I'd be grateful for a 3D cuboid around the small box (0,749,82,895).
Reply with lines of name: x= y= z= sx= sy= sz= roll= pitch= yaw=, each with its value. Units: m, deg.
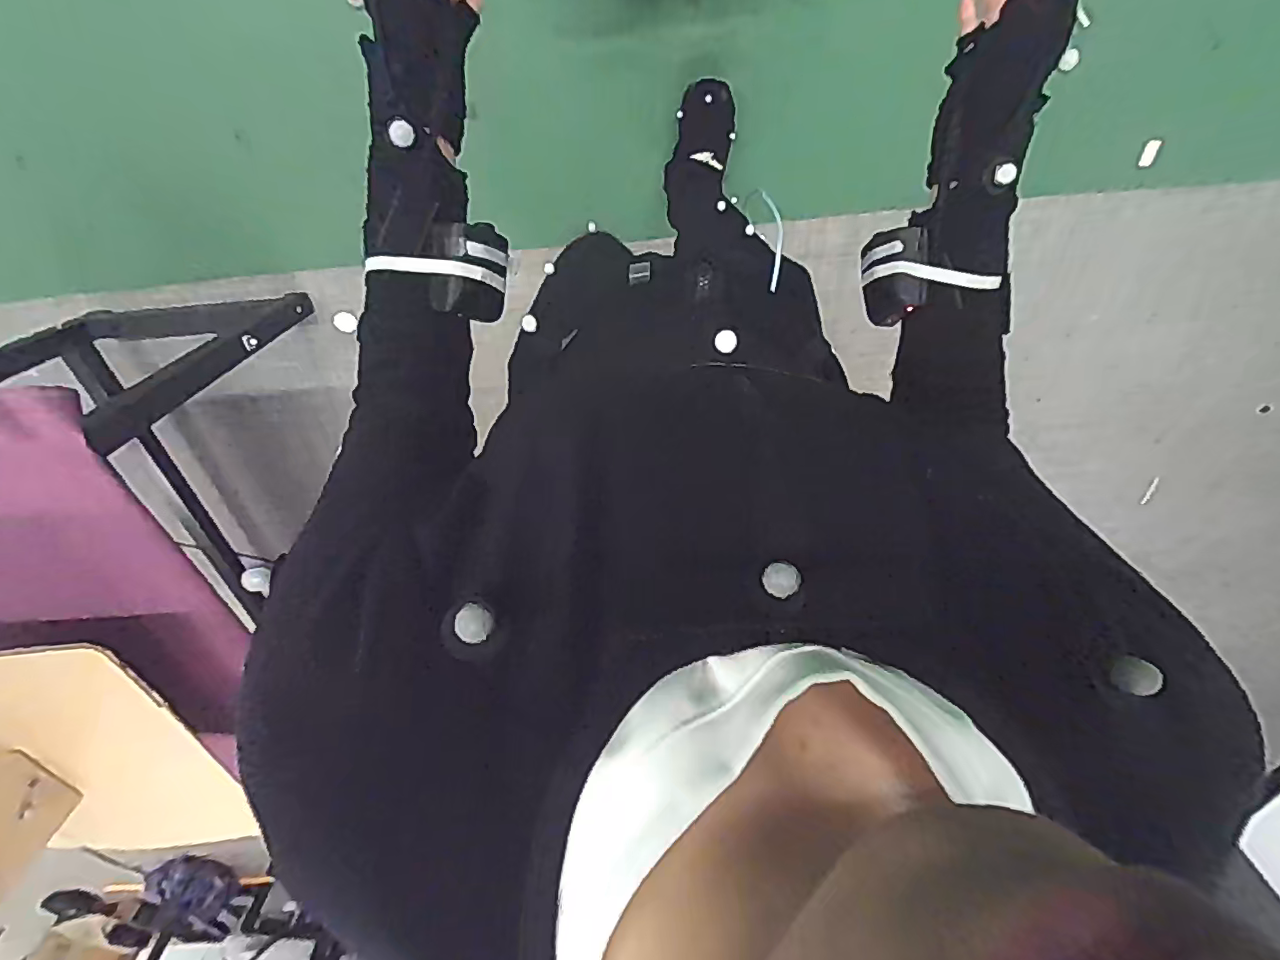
small box: x=-1.087 y=0.550 z=0.866 sx=0.179 sy=0.176 sz=0.168 roll=-1 pitch=126 yaw=3
